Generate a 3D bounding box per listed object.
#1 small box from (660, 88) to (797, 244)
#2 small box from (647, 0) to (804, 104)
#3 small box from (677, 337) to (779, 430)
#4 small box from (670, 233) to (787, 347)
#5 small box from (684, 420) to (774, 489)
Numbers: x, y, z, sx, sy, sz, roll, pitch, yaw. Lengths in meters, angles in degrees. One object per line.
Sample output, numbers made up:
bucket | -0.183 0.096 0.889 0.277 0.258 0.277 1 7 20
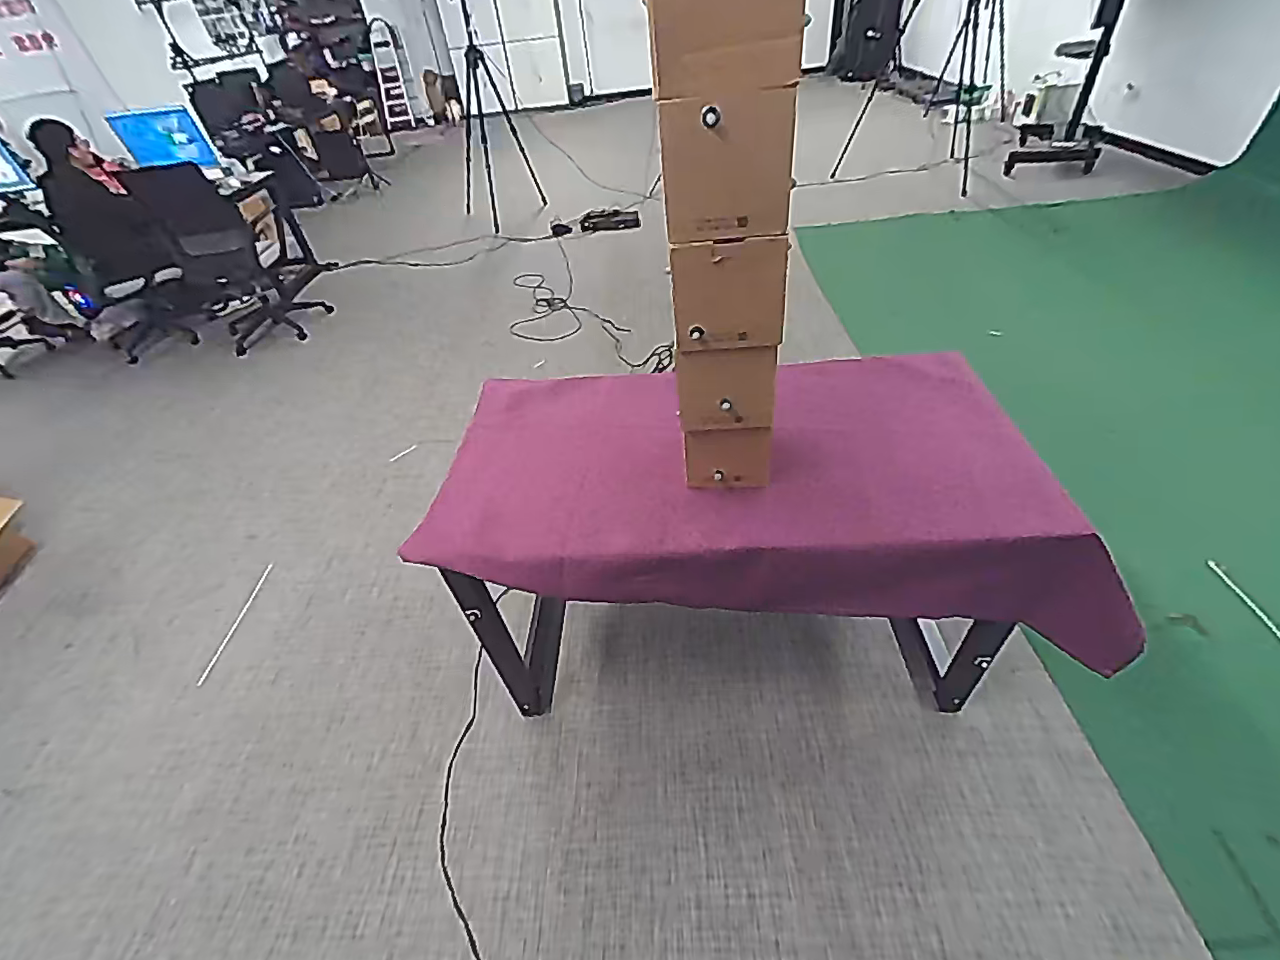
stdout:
small box | 0.122 -0.447 0.758 0.168 0.176 0.179 -1 42 9
small box | 0.102 -0.565 0.648 0.179 0.176 0.168 1 43 10
small box | 0.155 -0.209 0.981 0.168 0.176 0.179 -3 43 8
small box | 0.141 -0.323 0.864 0.168 0.176 0.179 -2 42 8
small box | 0.179 -0.100 1.101 0.168 0.176 0.179 -1 43 9
